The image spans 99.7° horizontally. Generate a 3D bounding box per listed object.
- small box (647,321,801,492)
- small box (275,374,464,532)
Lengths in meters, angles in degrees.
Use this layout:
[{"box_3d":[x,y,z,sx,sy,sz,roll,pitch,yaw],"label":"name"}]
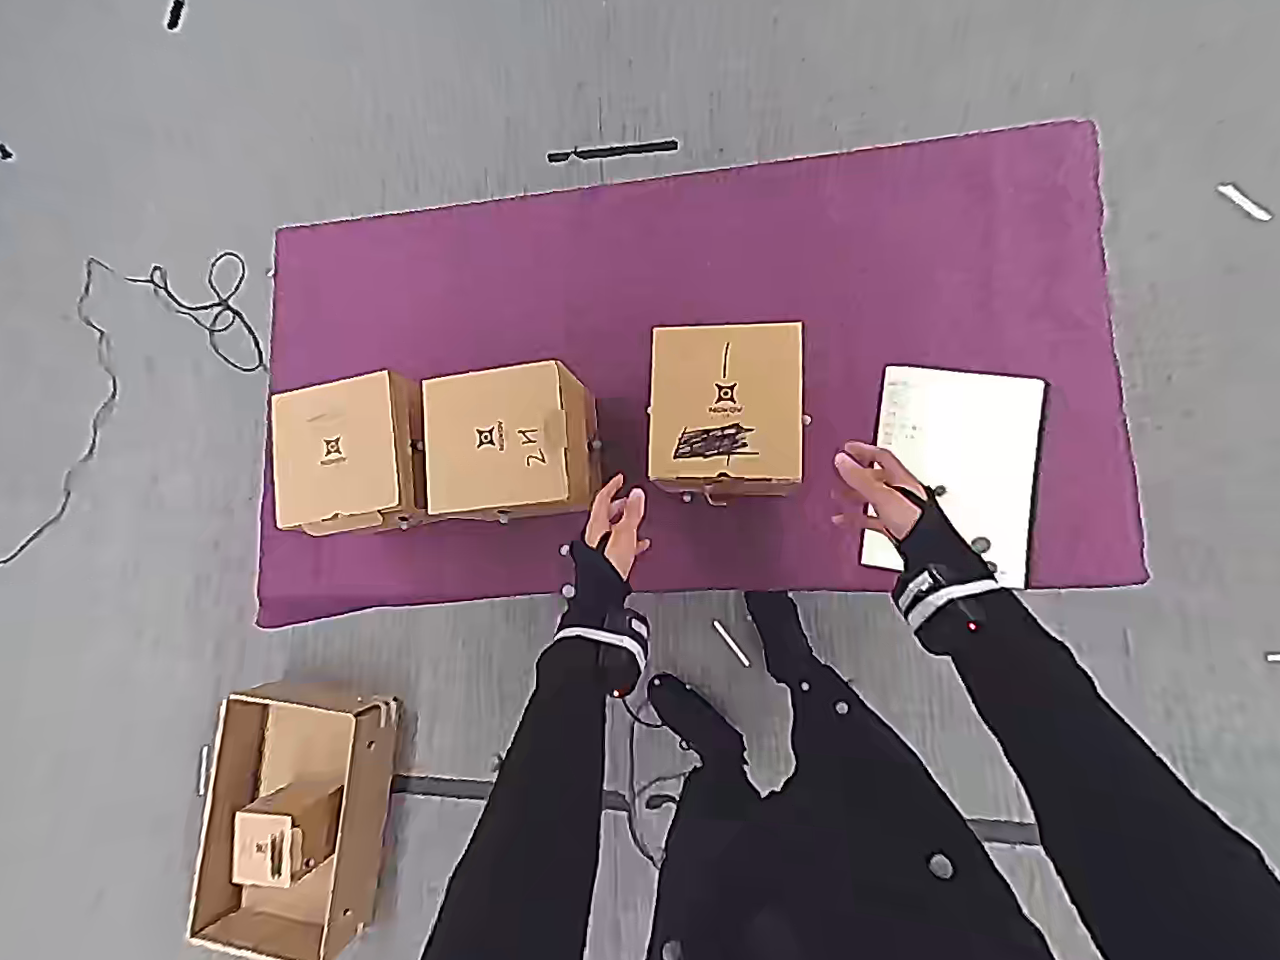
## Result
[{"box_3d":[0.105,-0.078,0.666,0.168,0.176,0.179,1,83,10],"label":"small box"},{"box_3d":[-0.359,-0.026,0.744,0.168,0.176,0.179,-10,82,8],"label":"small box"}]
